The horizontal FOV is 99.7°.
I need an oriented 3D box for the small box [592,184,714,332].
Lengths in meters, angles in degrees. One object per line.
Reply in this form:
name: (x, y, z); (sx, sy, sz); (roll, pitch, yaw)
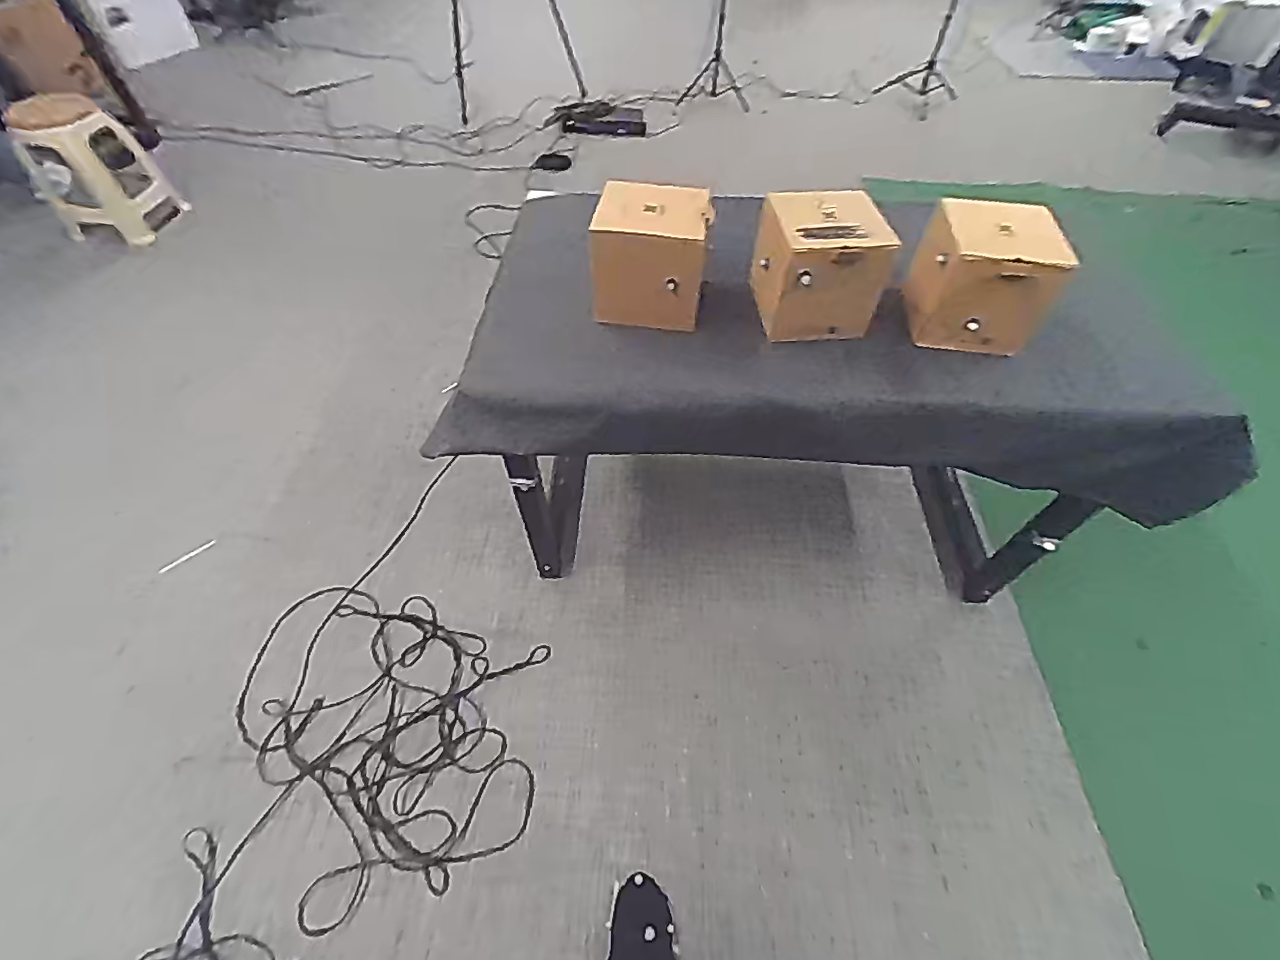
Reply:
small box: (0.024, -0.370, 0.911); (0.179, 0.176, 0.168); (6, 52, 5)

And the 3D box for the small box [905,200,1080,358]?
small box: (0.560, -0.329, 0.892); (0.168, 0.176, 0.179); (7, 54, 4)
